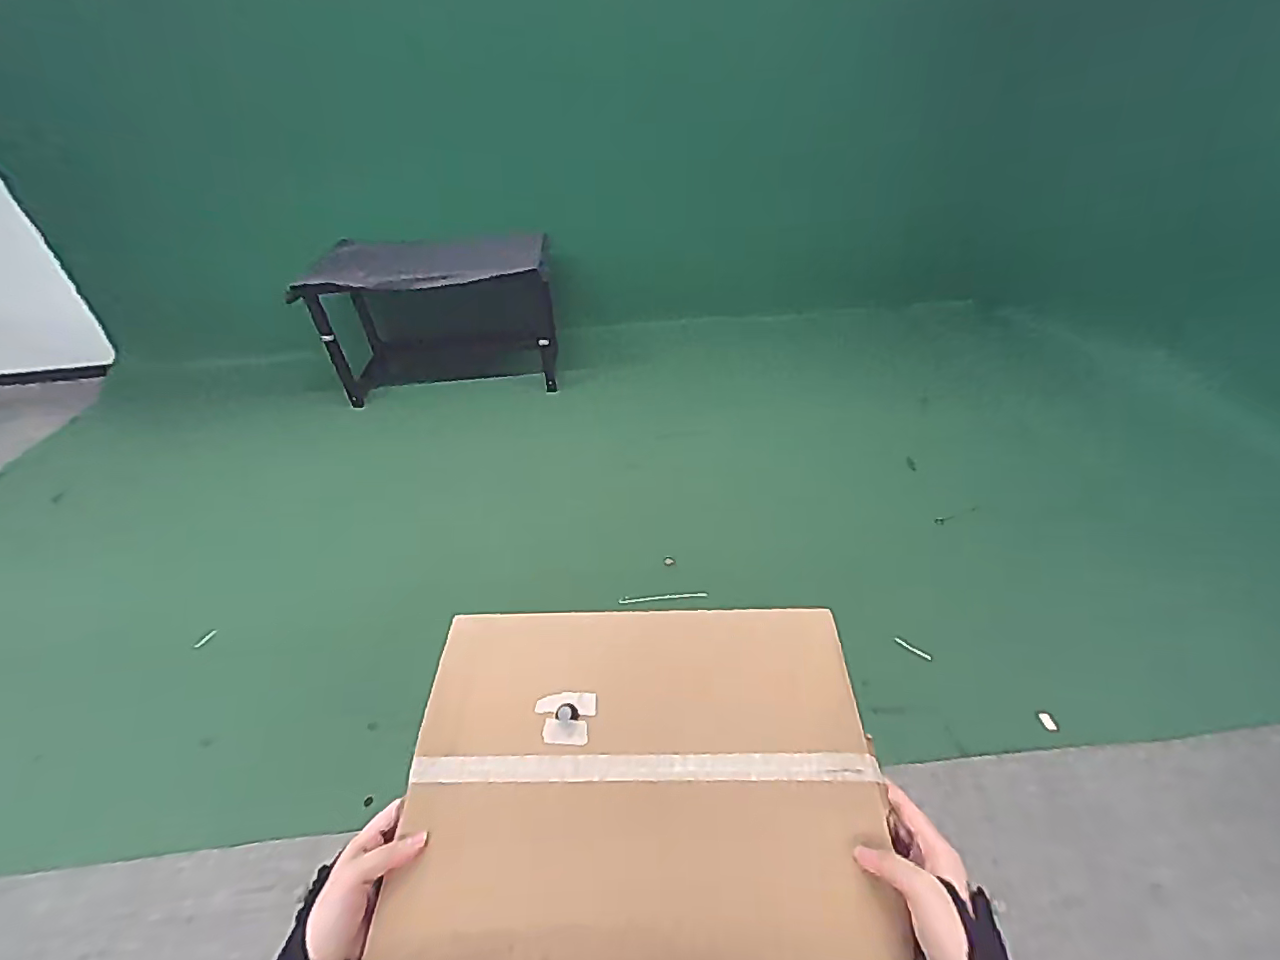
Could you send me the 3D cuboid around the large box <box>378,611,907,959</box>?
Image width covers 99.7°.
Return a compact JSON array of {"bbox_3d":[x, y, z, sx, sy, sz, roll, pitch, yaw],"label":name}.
[{"bbox_3d":[0.010,0.364,0.595,0.408,0.320,0.320,-3,46,4],"label":"large box"}]
